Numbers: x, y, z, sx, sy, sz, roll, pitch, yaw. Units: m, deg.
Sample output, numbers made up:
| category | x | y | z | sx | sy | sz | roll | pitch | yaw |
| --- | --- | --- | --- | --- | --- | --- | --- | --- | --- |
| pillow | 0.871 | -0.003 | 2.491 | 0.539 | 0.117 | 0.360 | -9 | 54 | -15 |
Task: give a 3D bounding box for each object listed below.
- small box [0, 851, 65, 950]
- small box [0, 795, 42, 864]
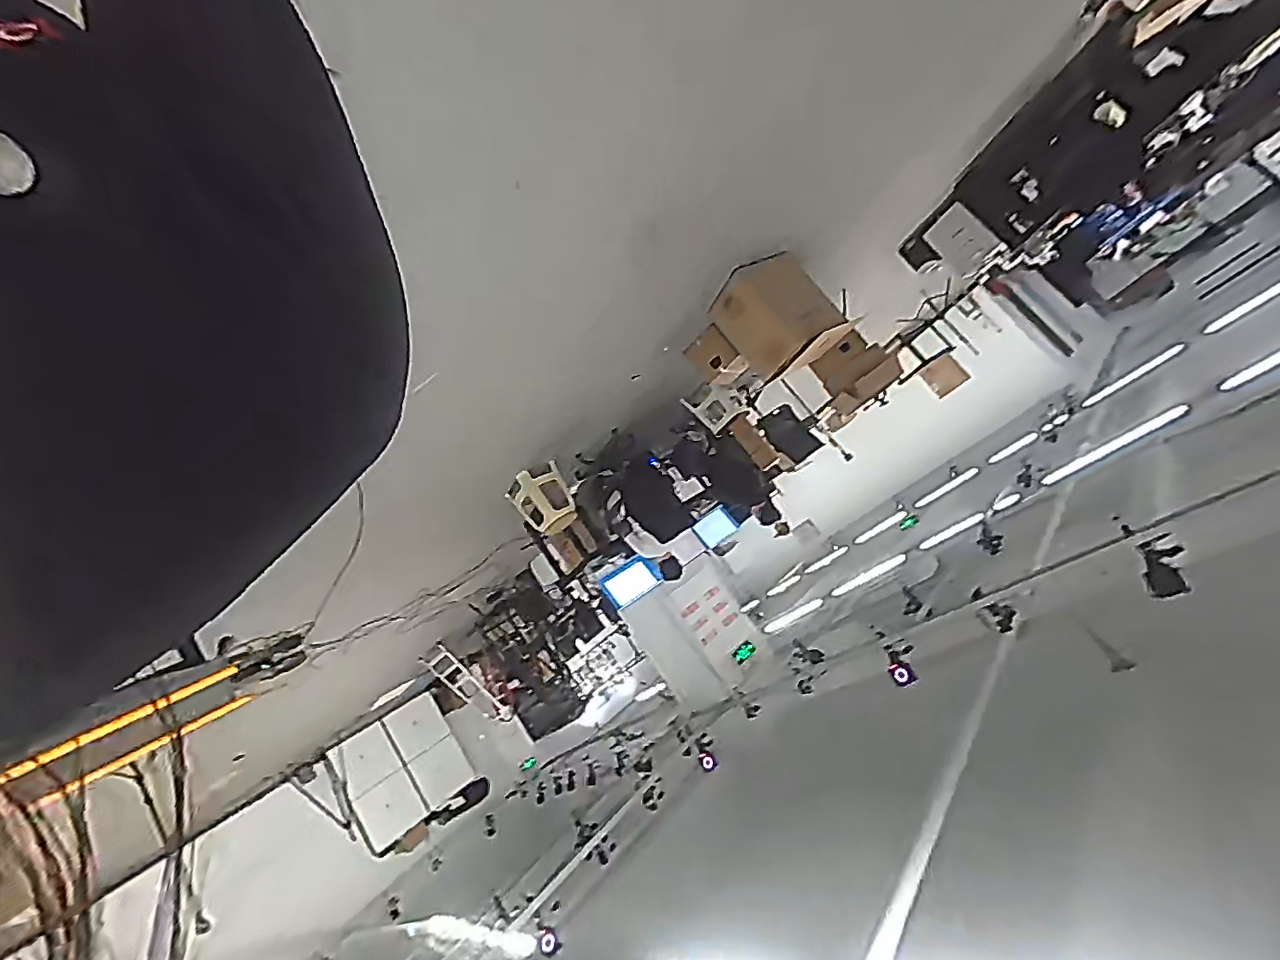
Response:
| category | x | y | z | sx | sy | sz | roll | pitch | yaw |
| --- | --- | --- | --- | --- | --- | --- | --- | --- | --- |
| small box | -1.619 | 1.079 | 1.368 | 0.168 | 0.176 | 0.179 | -26 | 163 | -42 |
| small box | -1.717 | 0.951 | 1.401 | 0.168 | 0.176 | 0.179 | -27 | 165 | -43 |
